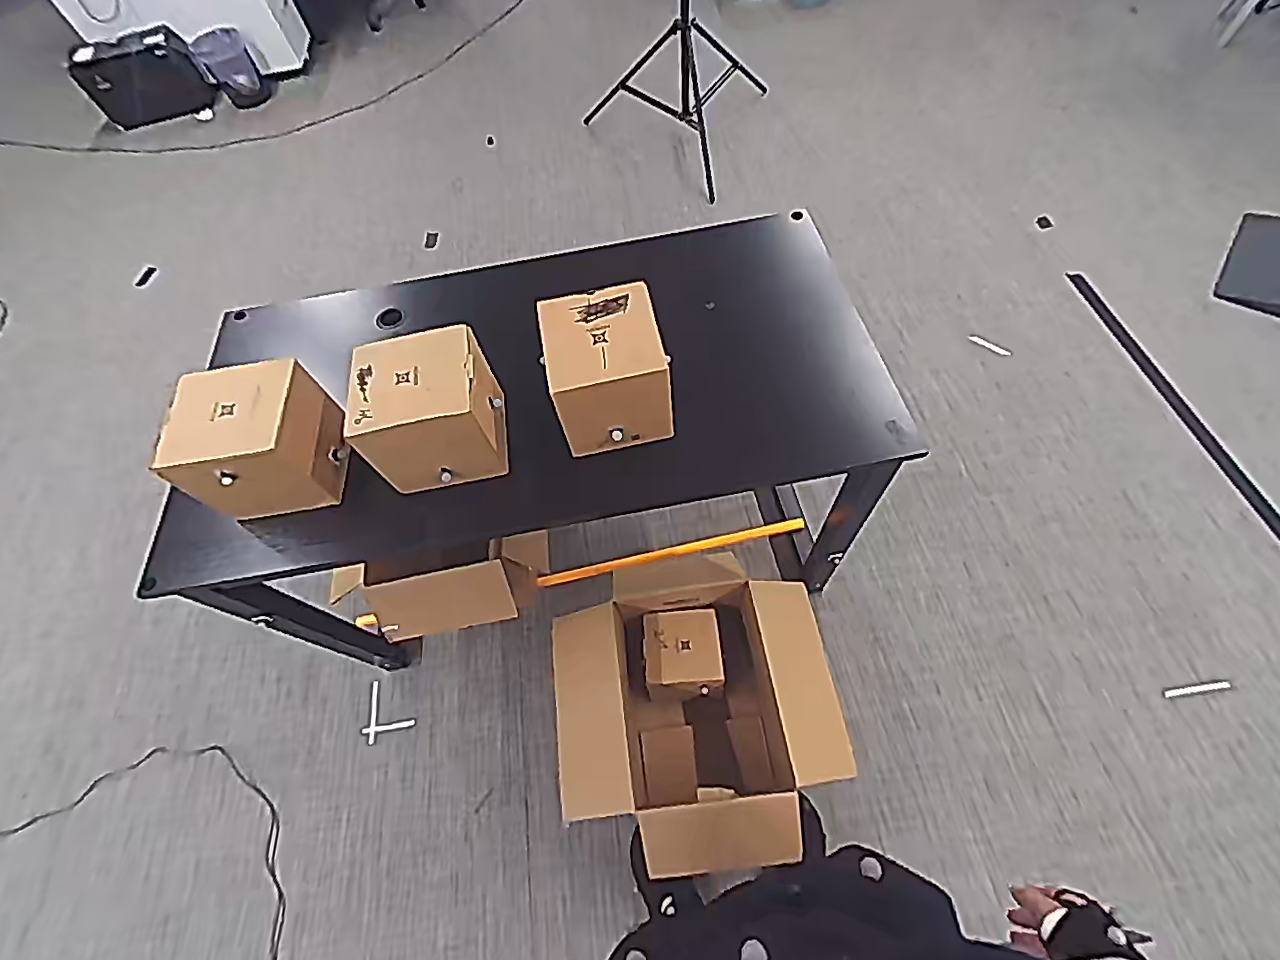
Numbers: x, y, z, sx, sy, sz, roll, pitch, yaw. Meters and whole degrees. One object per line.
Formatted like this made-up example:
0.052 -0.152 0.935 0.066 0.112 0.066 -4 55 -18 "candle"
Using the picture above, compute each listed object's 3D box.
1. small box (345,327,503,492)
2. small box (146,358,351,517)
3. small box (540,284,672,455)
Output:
-0.313 -0.101 0.821 0.179 0.176 0.168 -11 60 -2 "small box"
-0.573 -0.057 0.822 0.179 0.176 0.168 -9 61 -1 "small box"
-0.048 -0.165 0.829 0.168 0.176 0.179 -12 61 -1 "small box"
